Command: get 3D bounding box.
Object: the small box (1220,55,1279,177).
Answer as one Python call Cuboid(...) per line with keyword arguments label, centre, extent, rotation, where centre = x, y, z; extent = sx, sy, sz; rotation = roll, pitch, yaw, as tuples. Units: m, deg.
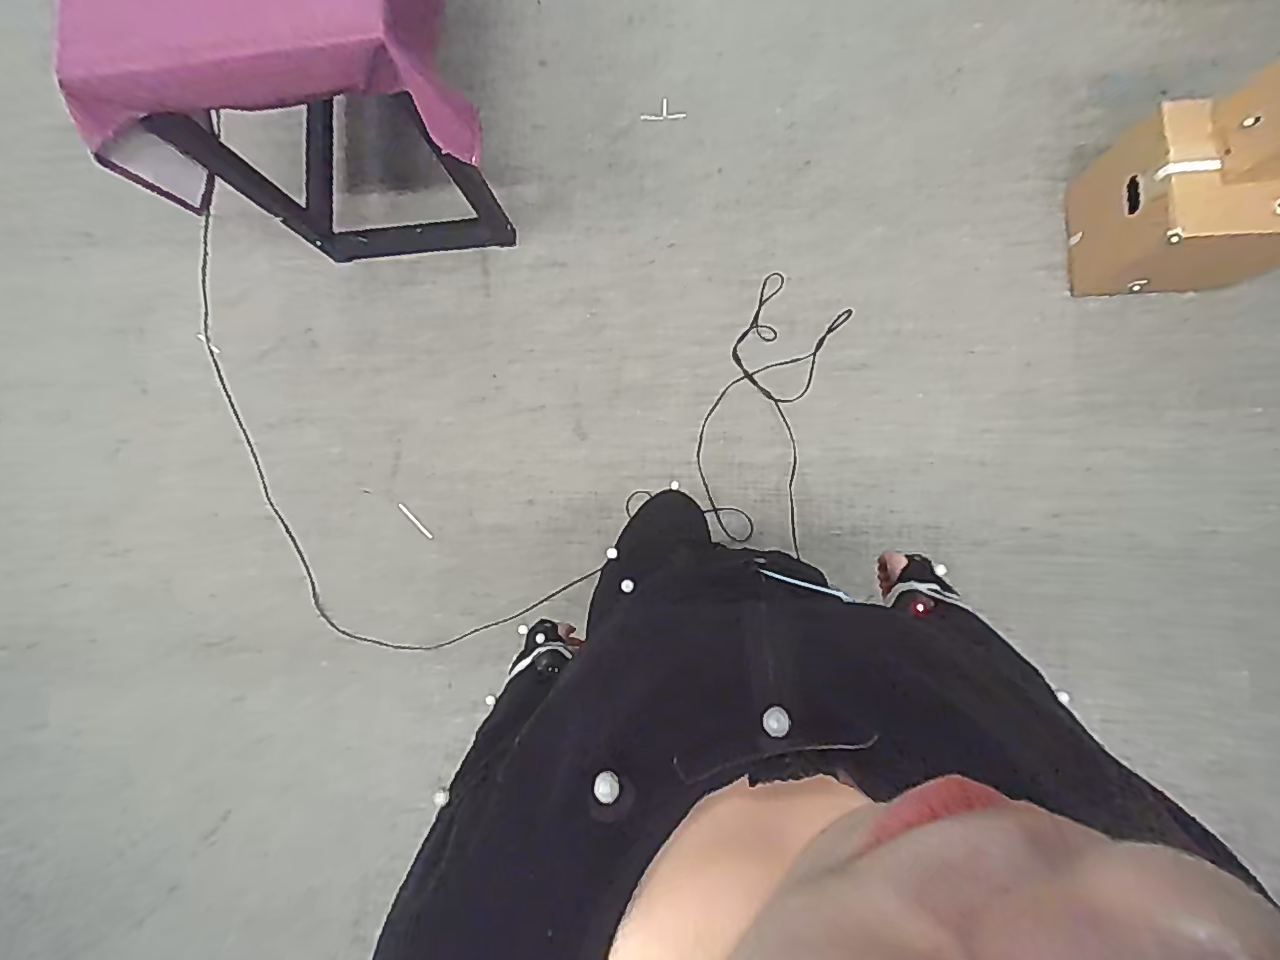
Cuboid(label="small box", centre=(1.310, -0.727, 1.065), extent=(0.179, 0.176, 0.168), rotation=(-4, 84, 6))
